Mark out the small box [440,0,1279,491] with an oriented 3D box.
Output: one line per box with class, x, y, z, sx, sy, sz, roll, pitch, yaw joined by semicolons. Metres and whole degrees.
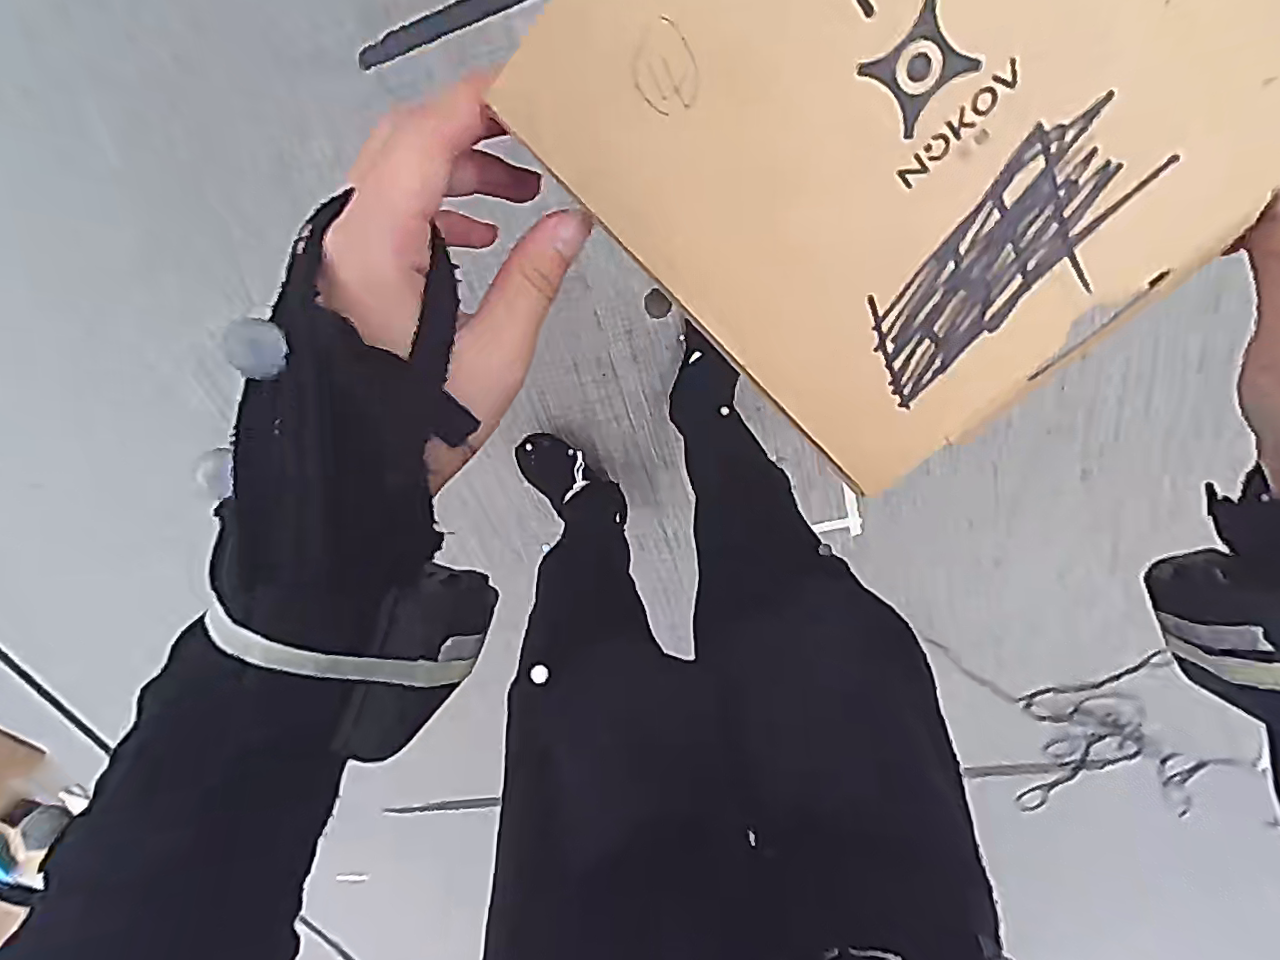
small box;0.066;-0.135;0.211;0.179;0.176;0.168;41;110;-16
